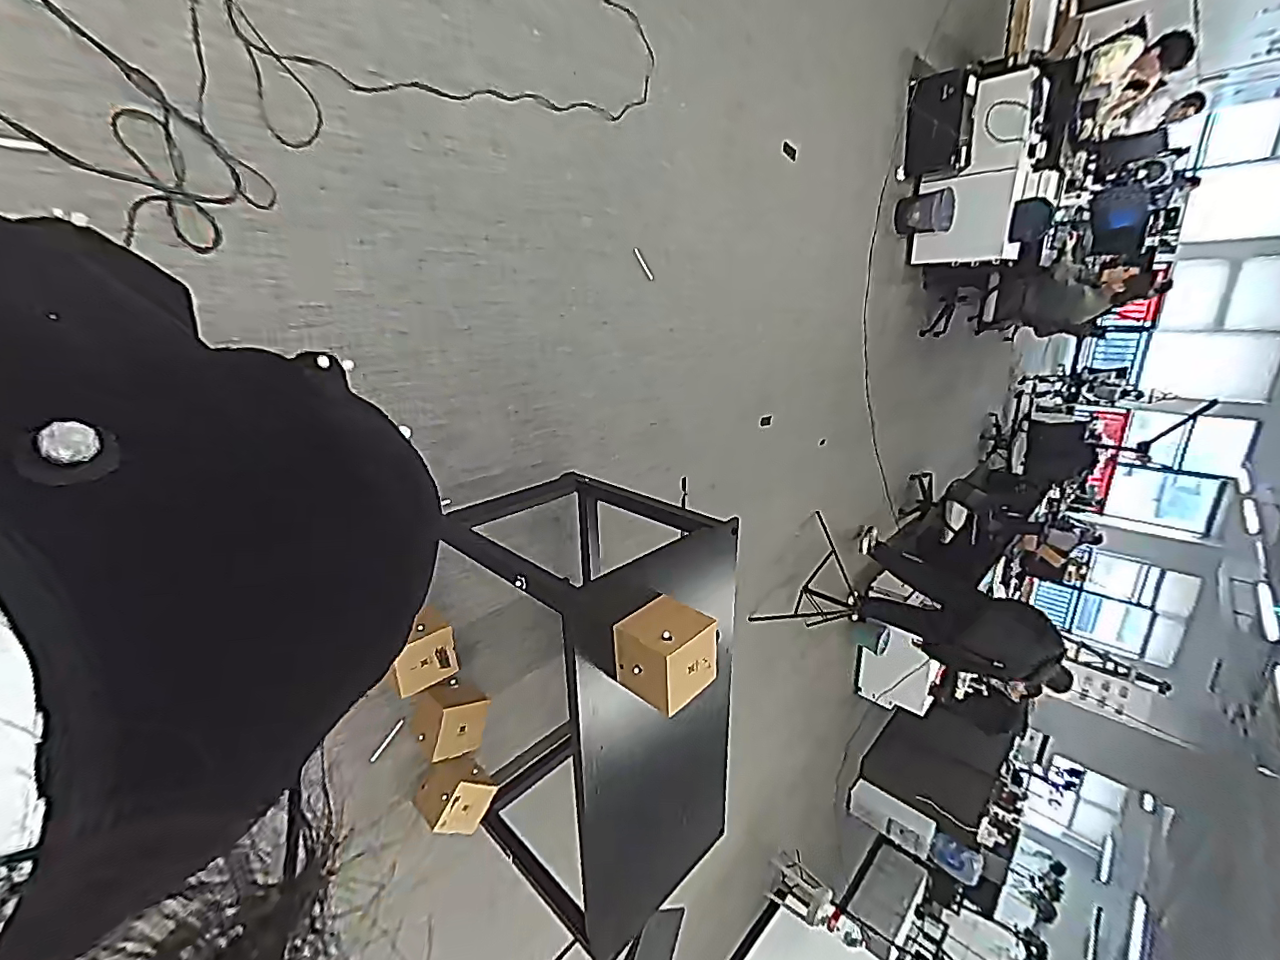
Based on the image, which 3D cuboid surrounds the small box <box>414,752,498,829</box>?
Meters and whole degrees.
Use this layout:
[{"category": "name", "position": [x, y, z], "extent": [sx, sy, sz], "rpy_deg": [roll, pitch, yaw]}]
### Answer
[{"category": "small box", "position": [-0.625, 1.049, 1.834], "extent": [0.179, 0.176, 0.168], "rpy_deg": [42, 71, -45]}]

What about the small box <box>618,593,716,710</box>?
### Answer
[{"category": "small box", "position": [0.059, 0.392, 1.266], "extent": [0.179, 0.176, 0.168], "rpy_deg": [-23, 119, -42]}]

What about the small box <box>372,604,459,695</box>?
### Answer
[{"category": "small box", "position": [-0.669, 0.495, 1.613], "extent": [0.179, 0.176, 0.168], "rpy_deg": [-20, 116, -41]}]

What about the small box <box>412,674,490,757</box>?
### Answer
[{"category": "small box", "position": [-0.618, 0.756, 1.754], "extent": [0.168, 0.176, 0.179], "rpy_deg": [9, 94, -49]}]
